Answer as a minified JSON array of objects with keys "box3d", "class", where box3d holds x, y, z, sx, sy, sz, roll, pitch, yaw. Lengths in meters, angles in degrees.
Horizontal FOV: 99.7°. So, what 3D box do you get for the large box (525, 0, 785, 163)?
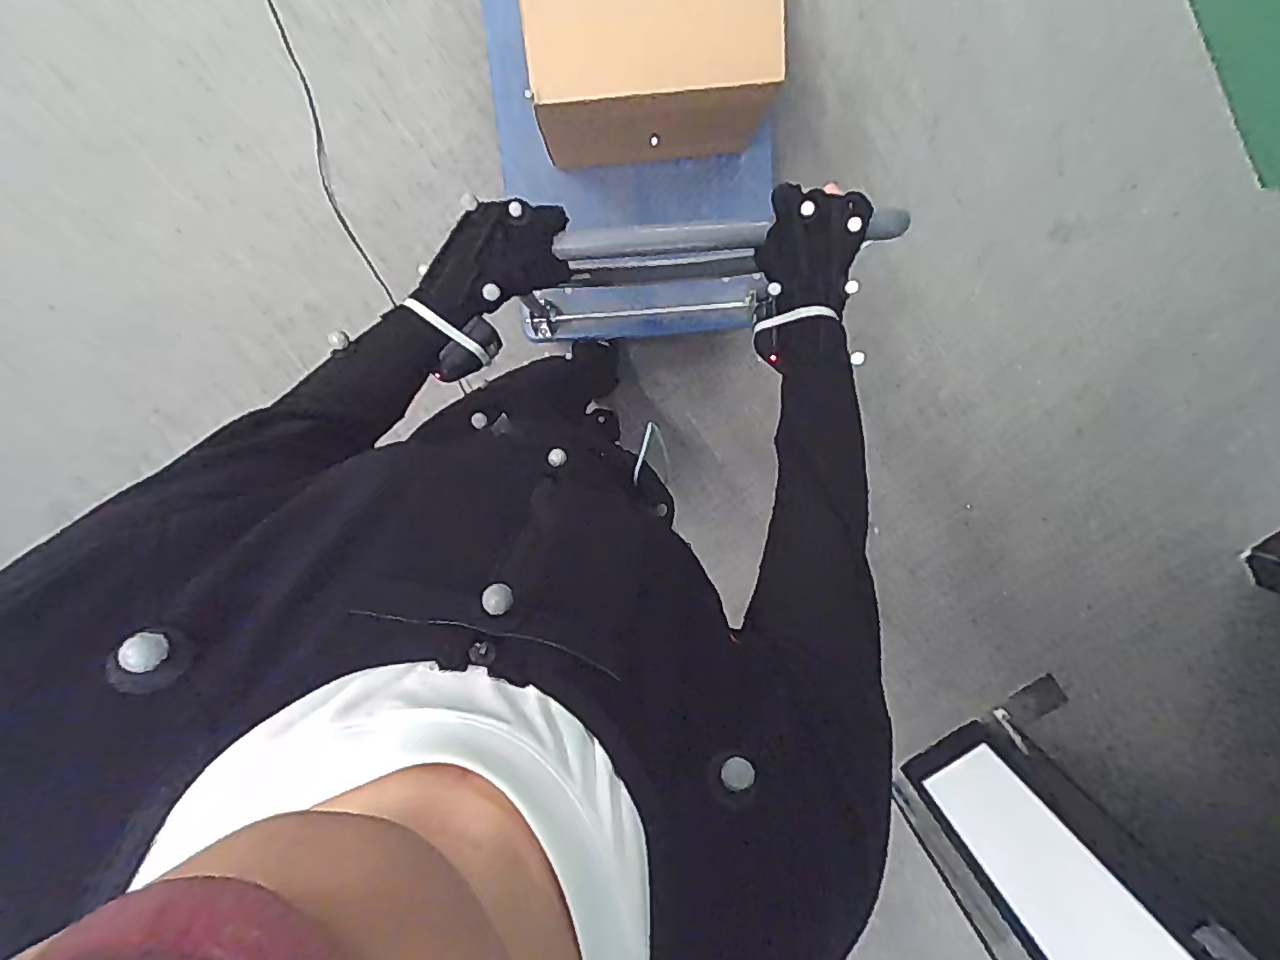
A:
[{"box3d":[0.016,-0.802,0.971,0.408,0.320,0.320,-6,103,0],"class":"large box"}]
